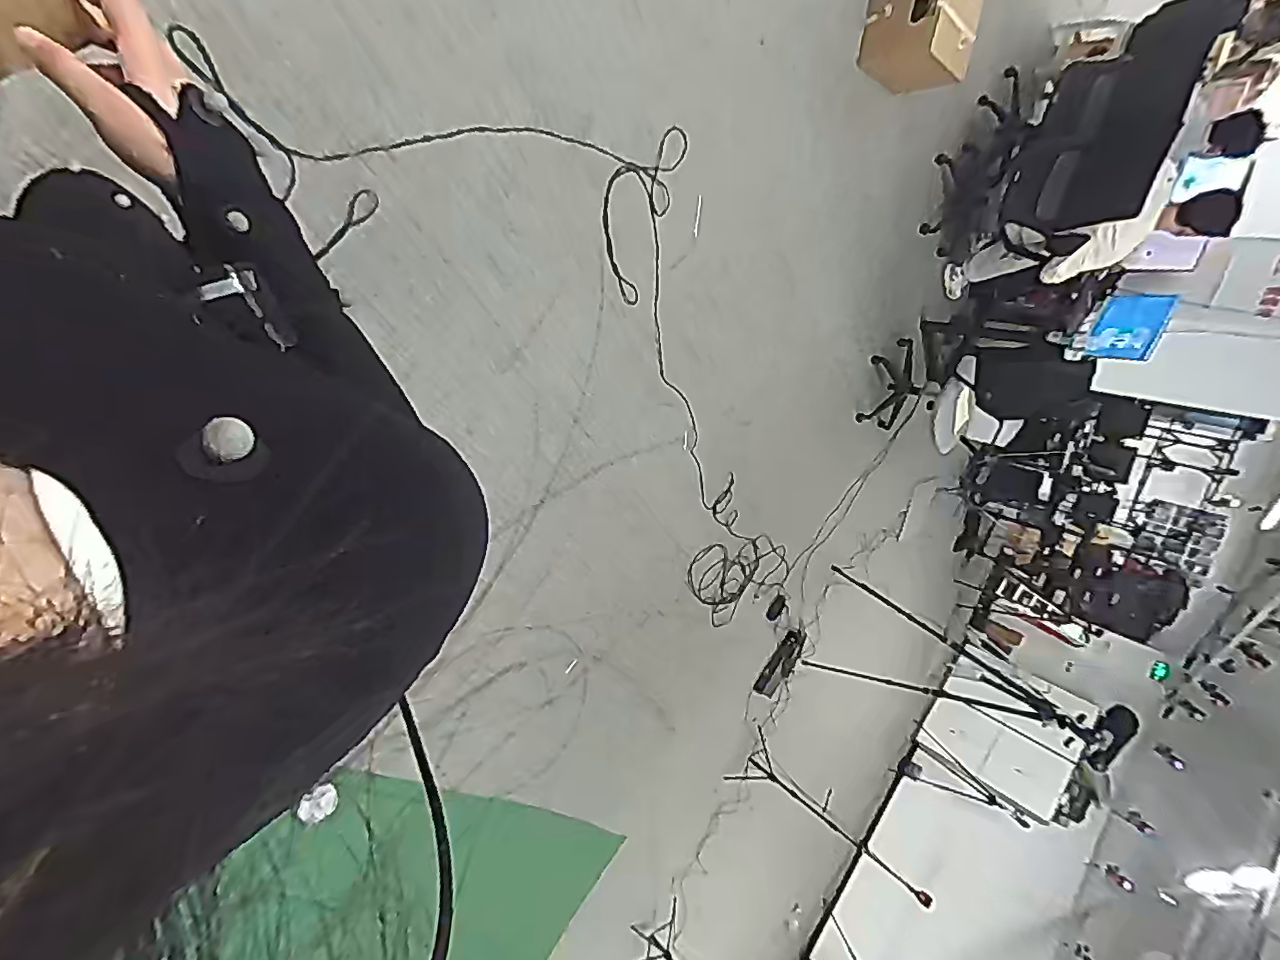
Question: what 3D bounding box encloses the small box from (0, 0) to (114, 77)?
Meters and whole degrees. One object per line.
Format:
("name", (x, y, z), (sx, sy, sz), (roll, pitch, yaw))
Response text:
("small box", (-0.456, -0.344, 0.289), (0.168, 0.176, 0.179), (-31, 158, -9))
